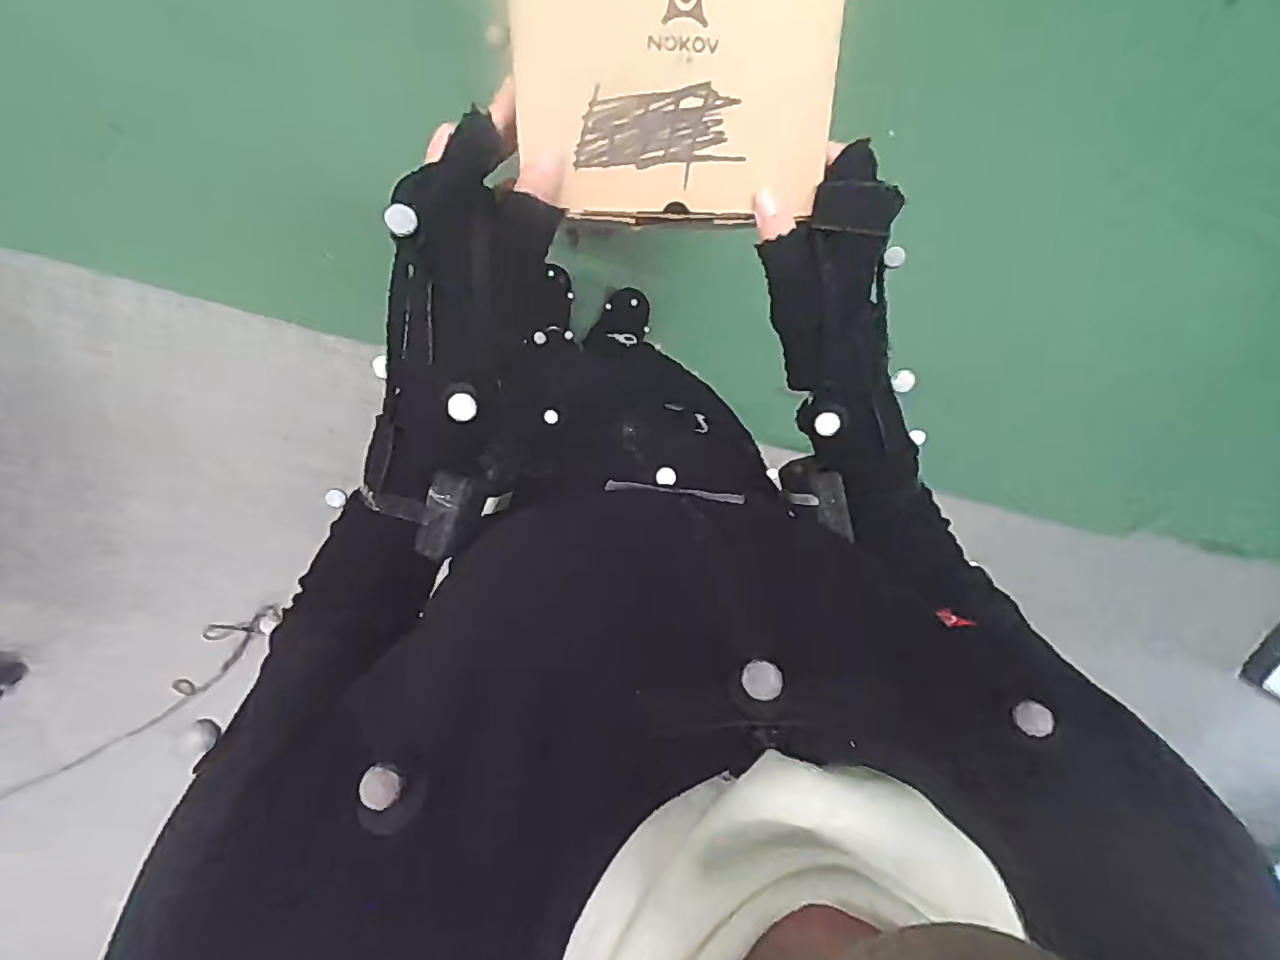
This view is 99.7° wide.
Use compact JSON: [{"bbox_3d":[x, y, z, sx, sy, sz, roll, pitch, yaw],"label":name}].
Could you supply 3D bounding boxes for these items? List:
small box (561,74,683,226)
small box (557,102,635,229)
[{"bbox_3d":[-0.041,-0.573,0.966,0.168,0.176,0.179,14,111,-13],"label":"small box"},{"bbox_3d":[-0.069,-0.637,1.114,0.168,0.176,0.179,15,113,-12],"label":"small box"}]
